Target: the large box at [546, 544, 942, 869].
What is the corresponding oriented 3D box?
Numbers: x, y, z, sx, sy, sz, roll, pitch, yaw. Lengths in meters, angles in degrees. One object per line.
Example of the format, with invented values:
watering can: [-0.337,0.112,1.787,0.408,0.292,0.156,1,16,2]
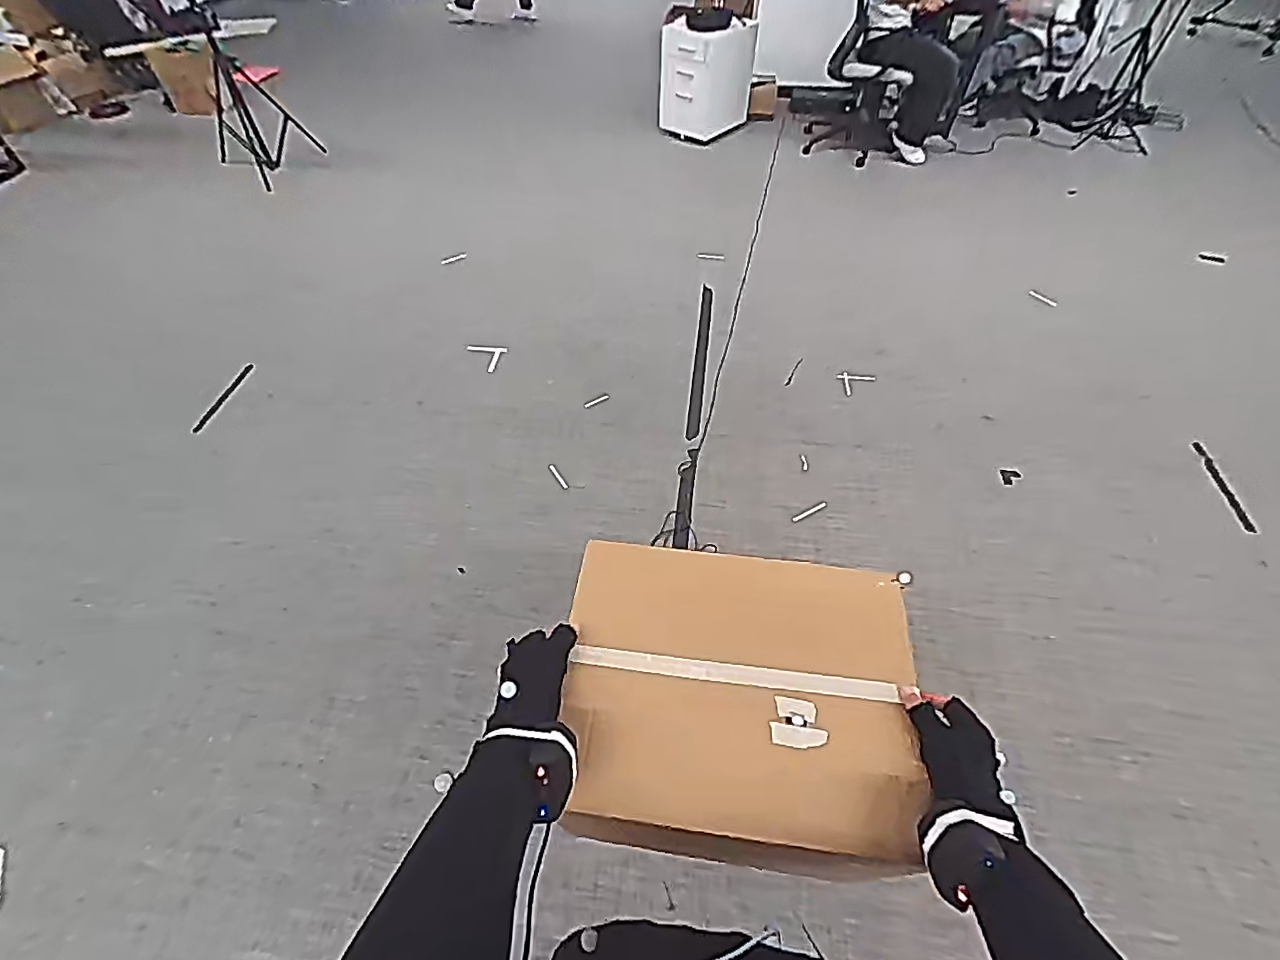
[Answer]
large box: [0.117,0.315,0.746,0.408,0.320,0.320,6,53,6]
